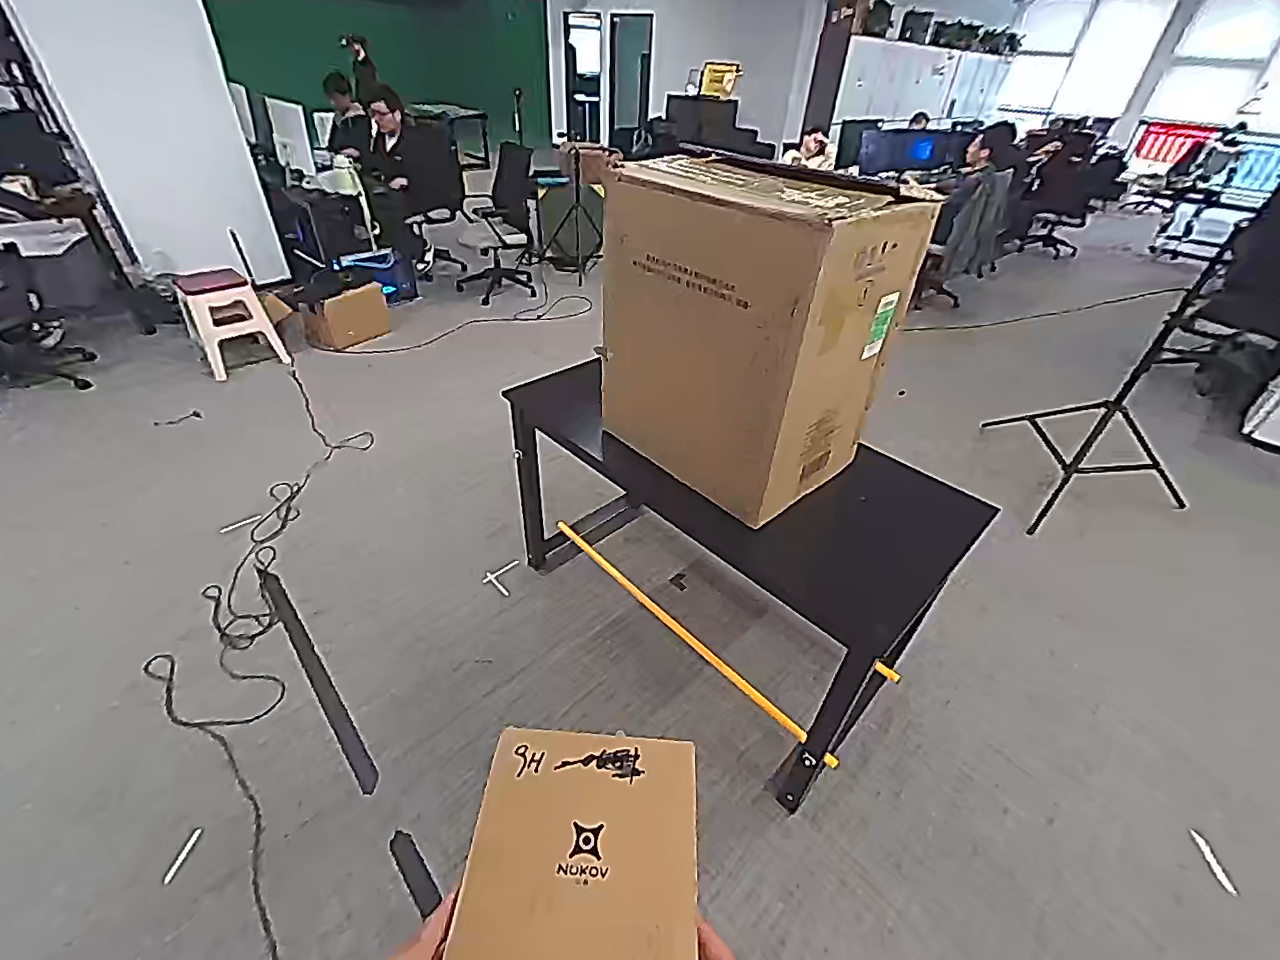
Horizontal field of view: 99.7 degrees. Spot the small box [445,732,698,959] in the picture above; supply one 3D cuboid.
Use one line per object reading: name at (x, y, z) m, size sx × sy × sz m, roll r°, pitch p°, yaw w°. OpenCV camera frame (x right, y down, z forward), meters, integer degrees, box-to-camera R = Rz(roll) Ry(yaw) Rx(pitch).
small box at (-0.041, 0.332, 0.438) m, size 0.168 × 0.176 × 0.179 m, roll 3°, pitch 42°, yaw 1°
